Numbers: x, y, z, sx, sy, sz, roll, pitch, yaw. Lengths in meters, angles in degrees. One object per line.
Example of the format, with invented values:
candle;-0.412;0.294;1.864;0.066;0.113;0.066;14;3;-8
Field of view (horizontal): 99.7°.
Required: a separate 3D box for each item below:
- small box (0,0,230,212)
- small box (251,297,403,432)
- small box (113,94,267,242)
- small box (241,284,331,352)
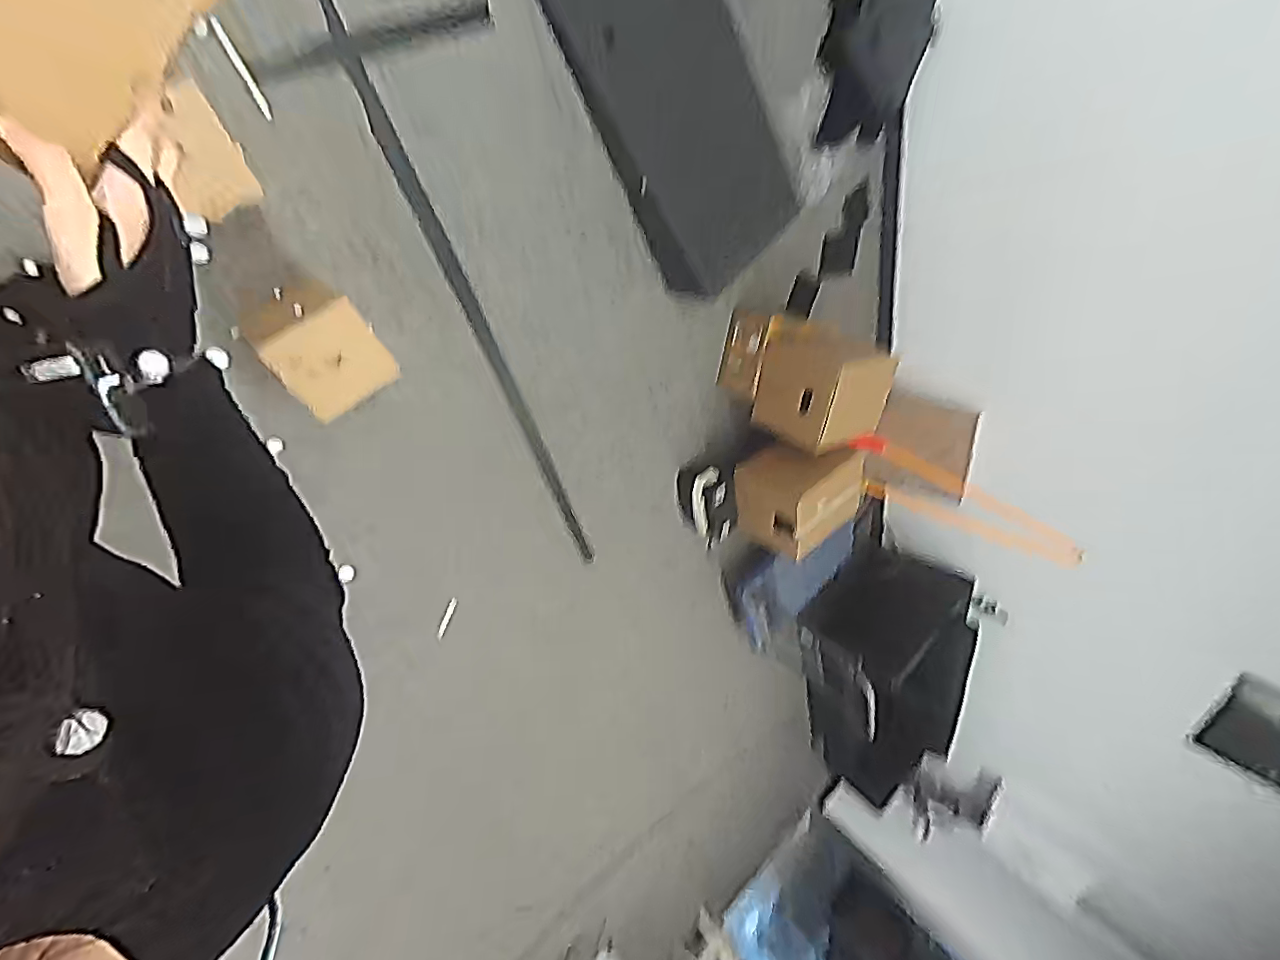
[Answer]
small box;-0.355;-0.289;0.274;0.168;0.176;0.179;-41;147;11
small box;-0.598;-0.227;1.030;0.179;0.176;0.168;-41;134;-18
small box;-0.786;-0.534;0.926;0.168;0.176;0.179;-37;134;-22
small box;-0.702;-0.290;1.142;0.179;0.176;0.168;-43;135;-18
